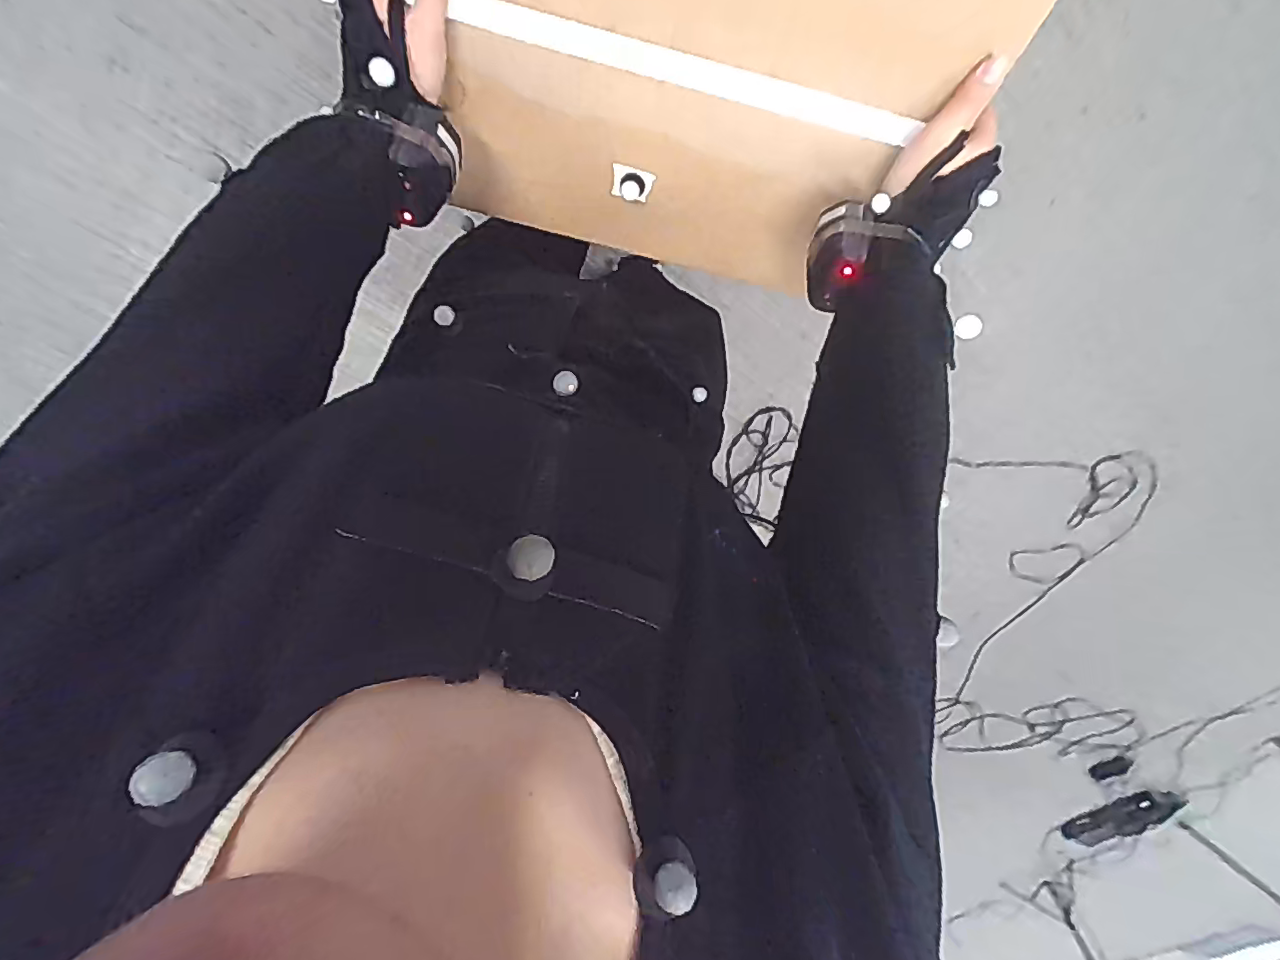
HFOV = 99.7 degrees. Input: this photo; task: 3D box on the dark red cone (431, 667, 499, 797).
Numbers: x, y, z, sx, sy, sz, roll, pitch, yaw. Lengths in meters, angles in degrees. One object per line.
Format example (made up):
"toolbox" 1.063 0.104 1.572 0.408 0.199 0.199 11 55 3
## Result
"dark red cone" -0.611 0.828 1.775 0.202 0.394 0.201 25 122 -18
